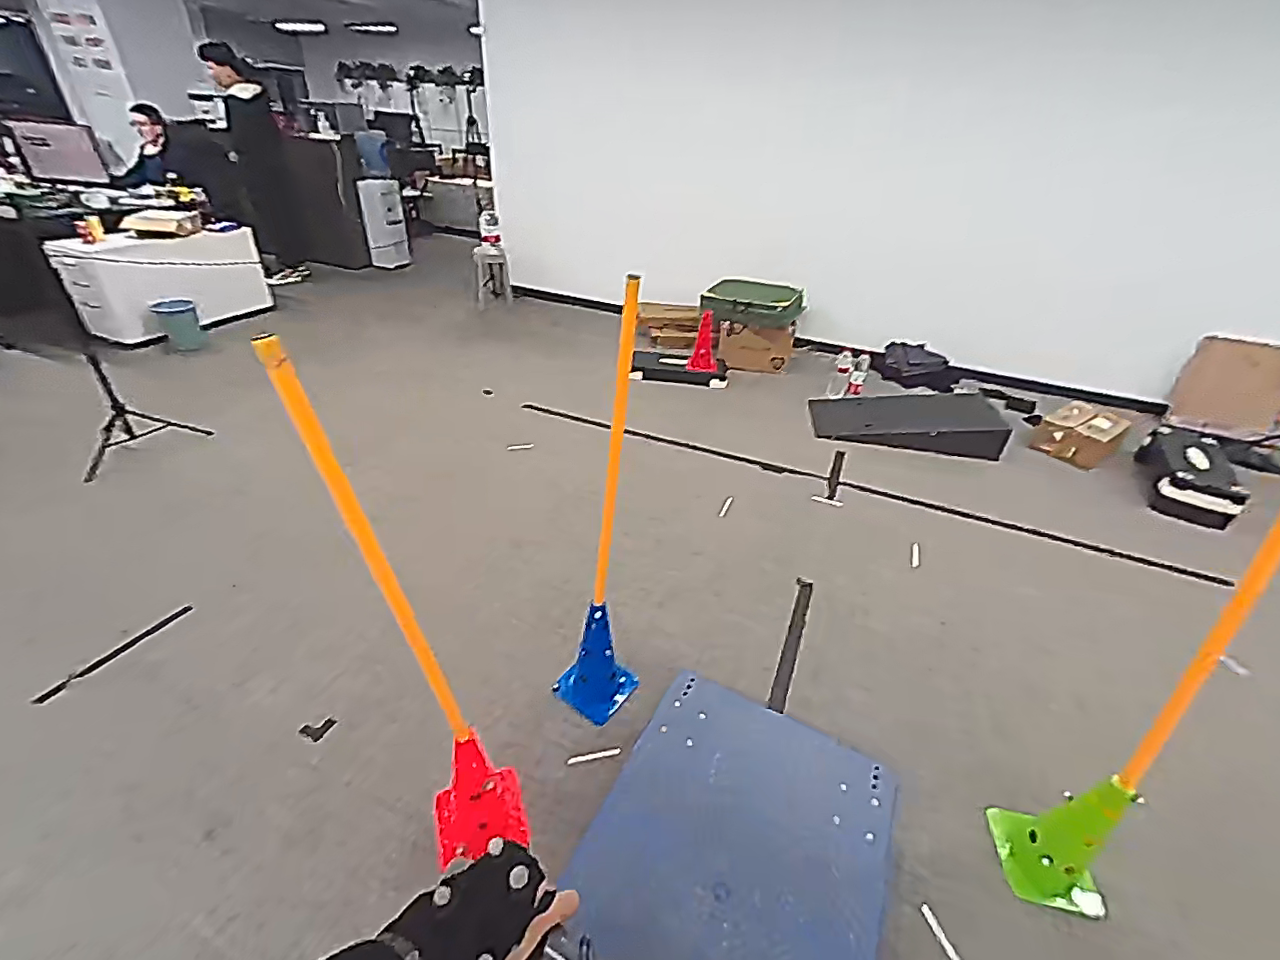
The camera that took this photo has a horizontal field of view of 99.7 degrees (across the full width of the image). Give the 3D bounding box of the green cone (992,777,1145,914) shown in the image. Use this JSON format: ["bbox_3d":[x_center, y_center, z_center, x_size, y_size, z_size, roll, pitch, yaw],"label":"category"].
[{"bbox_3d":[0.976,0.758,1.189,0.200,0.368,0.202,8,35,6],"label":"green cone"}]

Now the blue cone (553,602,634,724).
[{"bbox_3d":[-0.125,0.477,1.513,0.193,0.380,0.192,26,40,29],"label":"blue cone"}]

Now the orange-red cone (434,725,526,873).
[{"bbox_3d":[-0.368,0.656,1.188,0.199,0.360,0.198,-8,36,-21],"label":"orange-red cone"}]
